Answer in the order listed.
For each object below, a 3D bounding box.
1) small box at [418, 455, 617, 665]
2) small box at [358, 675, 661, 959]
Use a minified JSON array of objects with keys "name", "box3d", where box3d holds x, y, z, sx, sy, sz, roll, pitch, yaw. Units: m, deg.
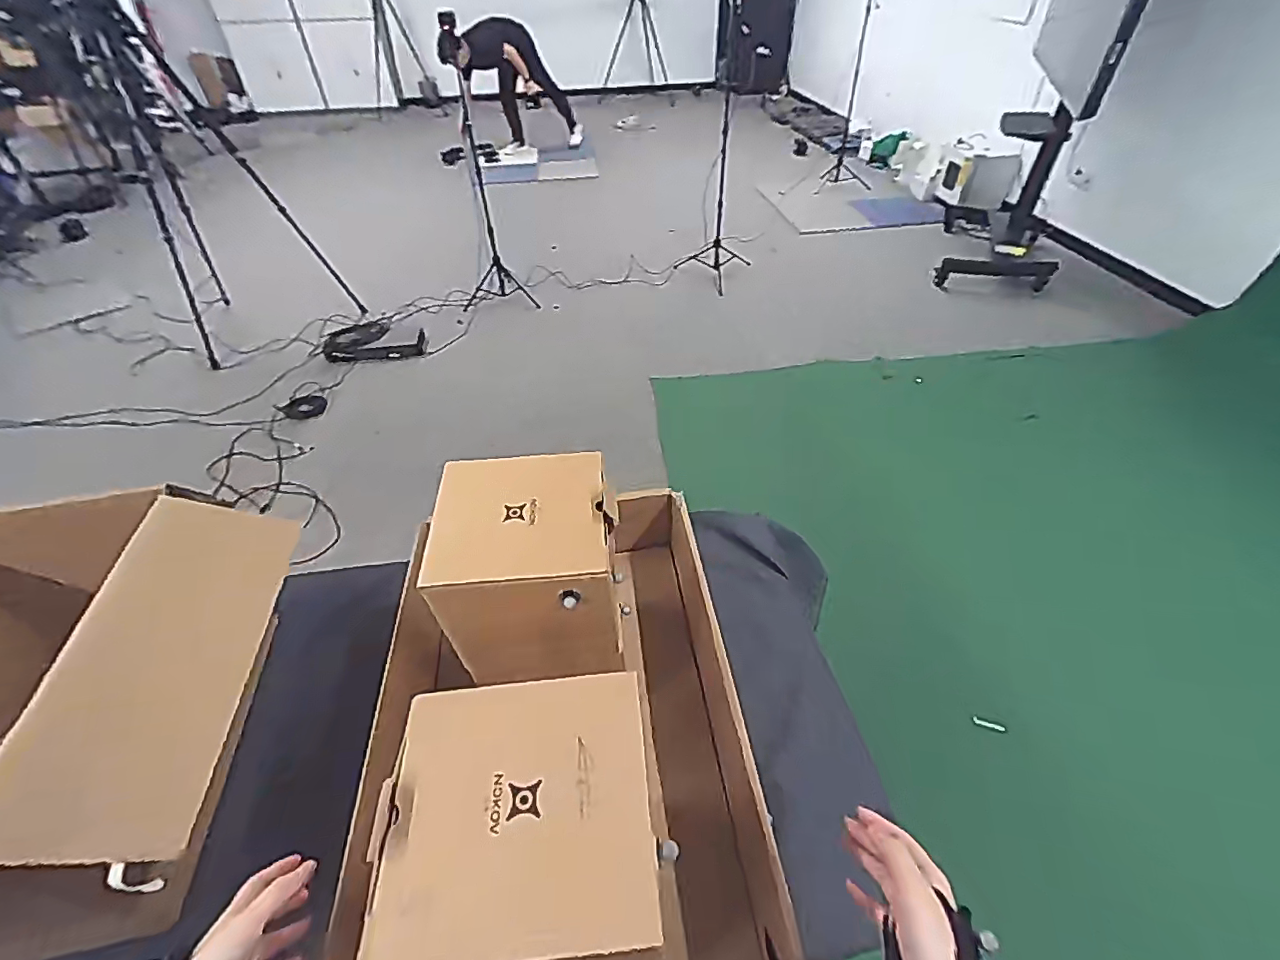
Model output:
[{"name":"small box","box3d":[-0.120,0.092,0.604,0.179,0.176,0.168,-4,46,-3]},{"name":"small box","box3d":[-0.079,0.274,0.420,0.179,0.176,0.168,-5,46,-3]}]
